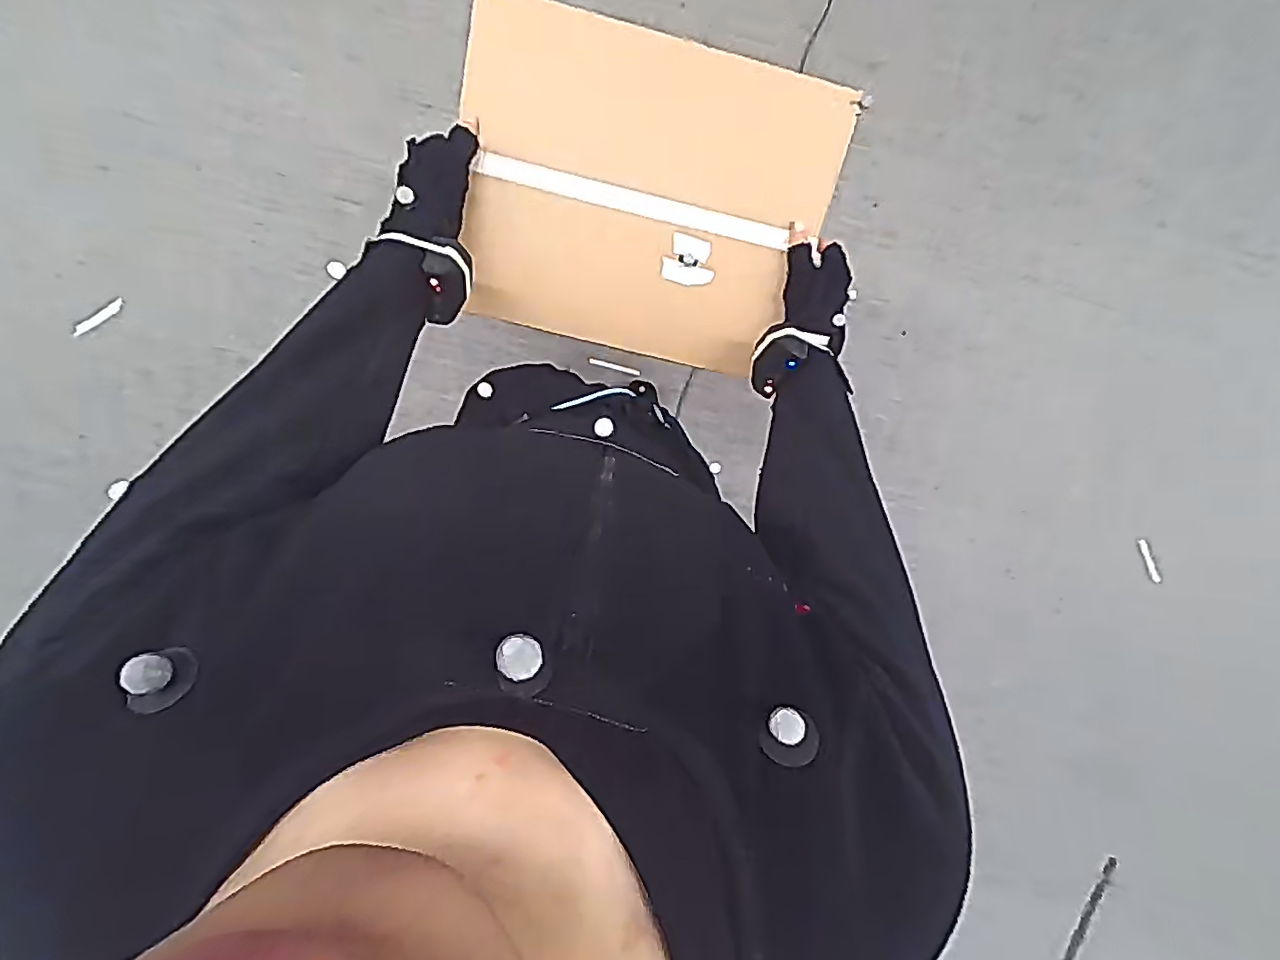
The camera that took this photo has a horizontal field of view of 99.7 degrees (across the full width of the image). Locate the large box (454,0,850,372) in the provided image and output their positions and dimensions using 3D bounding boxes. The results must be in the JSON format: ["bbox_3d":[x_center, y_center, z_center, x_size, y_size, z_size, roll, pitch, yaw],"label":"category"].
[{"bbox_3d":[-0.001,-0.356,0.752,0.408,0.320,0.320,12,107,-6],"label":"large box"}]
